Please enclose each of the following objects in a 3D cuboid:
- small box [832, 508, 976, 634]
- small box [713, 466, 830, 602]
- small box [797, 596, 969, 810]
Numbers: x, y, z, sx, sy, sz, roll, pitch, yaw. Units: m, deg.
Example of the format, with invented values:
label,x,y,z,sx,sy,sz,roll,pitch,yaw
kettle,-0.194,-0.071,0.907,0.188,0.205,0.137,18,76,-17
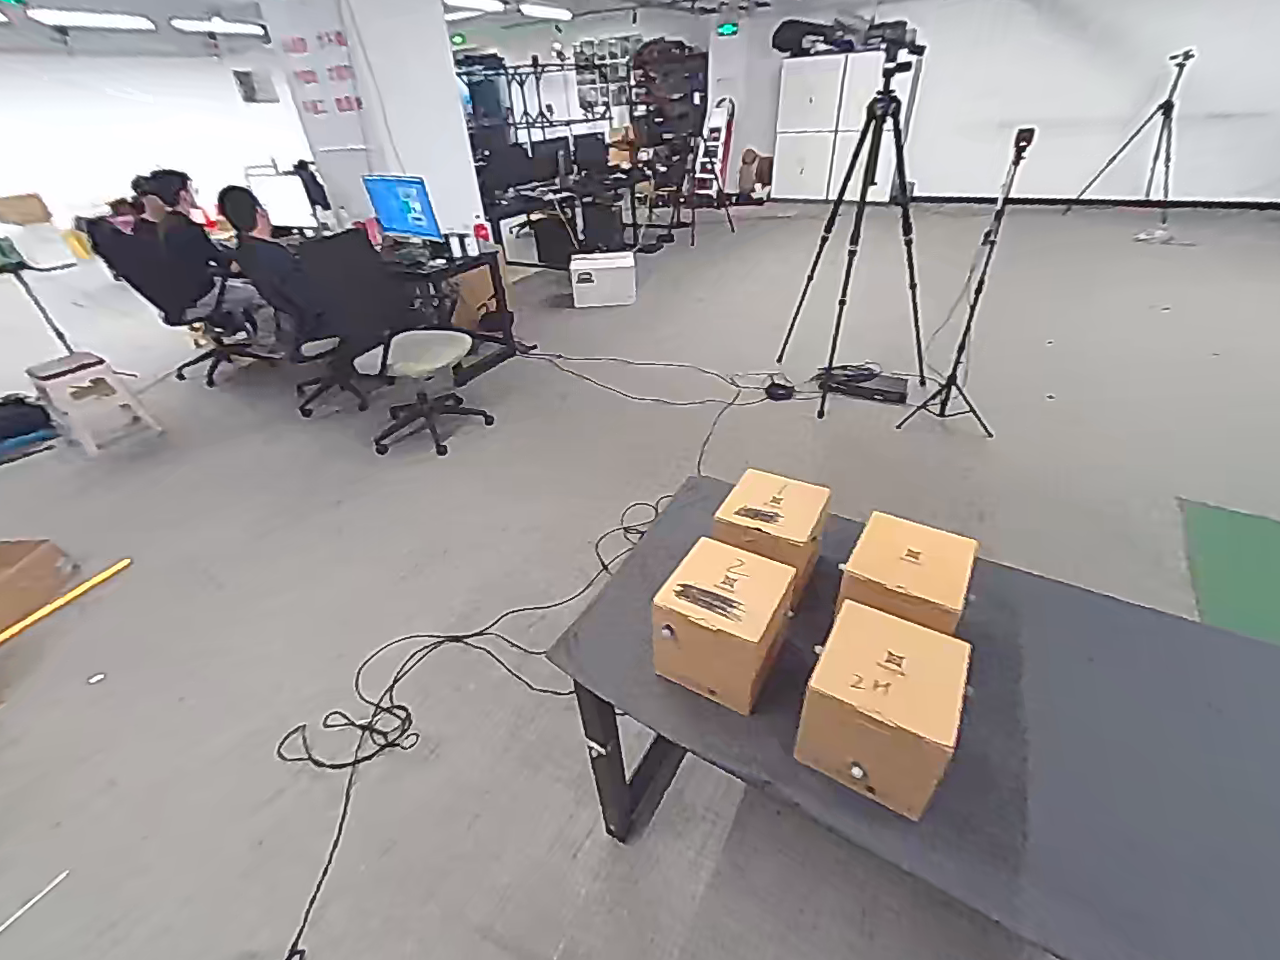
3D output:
label,x,y,z,sx,sy,sz,roll,pitch,yaw
small box,0.437,0.182,0.909,0.168,0.176,0.179,19,42,28
small box,0.248,0.102,1.033,0.168,0.176,0.179,17,40,26
small box,0.328,0.300,0.745,0.168,0.176,0.179,18,39,28
